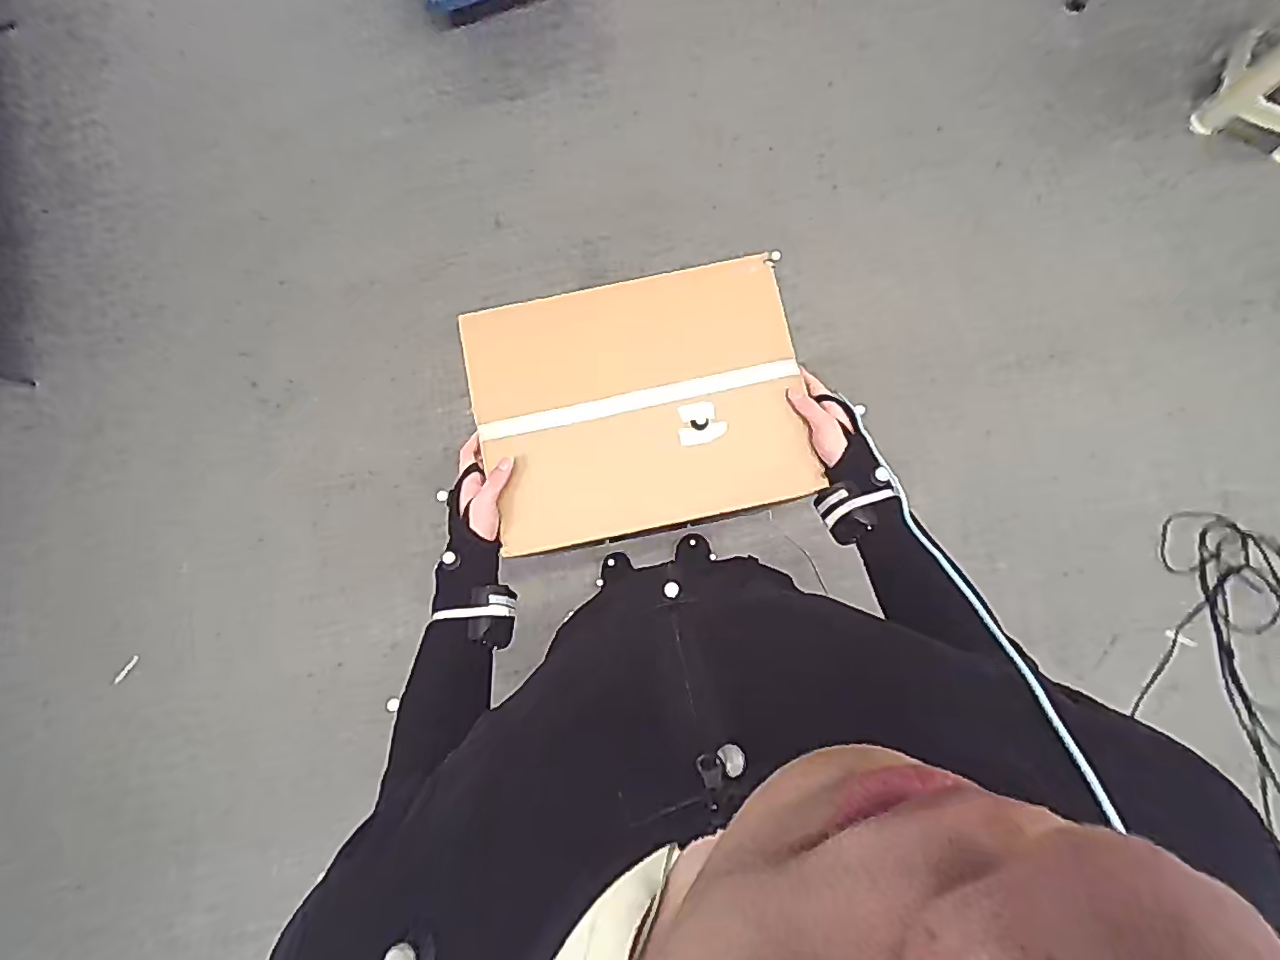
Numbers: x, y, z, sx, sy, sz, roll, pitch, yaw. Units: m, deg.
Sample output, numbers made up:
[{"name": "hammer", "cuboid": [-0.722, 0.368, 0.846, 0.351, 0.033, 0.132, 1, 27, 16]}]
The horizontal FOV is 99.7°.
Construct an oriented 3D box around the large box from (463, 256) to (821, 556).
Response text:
[{"name": "large box", "cuboid": [-0.003, -0.079, 0.821, 0.408, 0.320, 0.320, -12, 82, -2]}]
